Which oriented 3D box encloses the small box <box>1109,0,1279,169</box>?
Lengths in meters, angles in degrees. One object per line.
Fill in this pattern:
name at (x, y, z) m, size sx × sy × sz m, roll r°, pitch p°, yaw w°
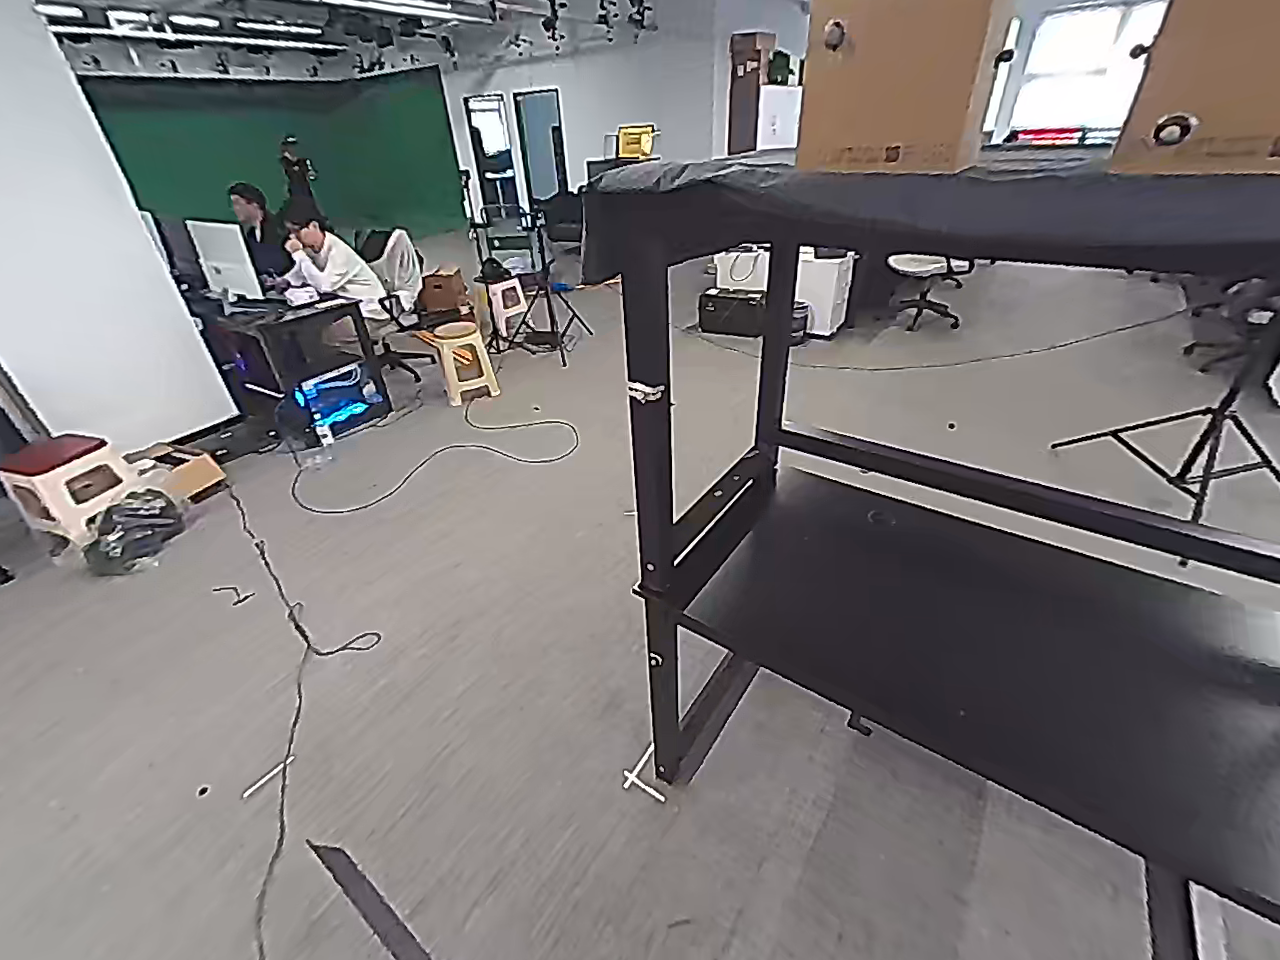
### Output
small box at (0.522, -0.355, 0.443) m, size 0.168 × 0.176 × 0.179 m, roll 20°, pitch 37°, yaw 31°
